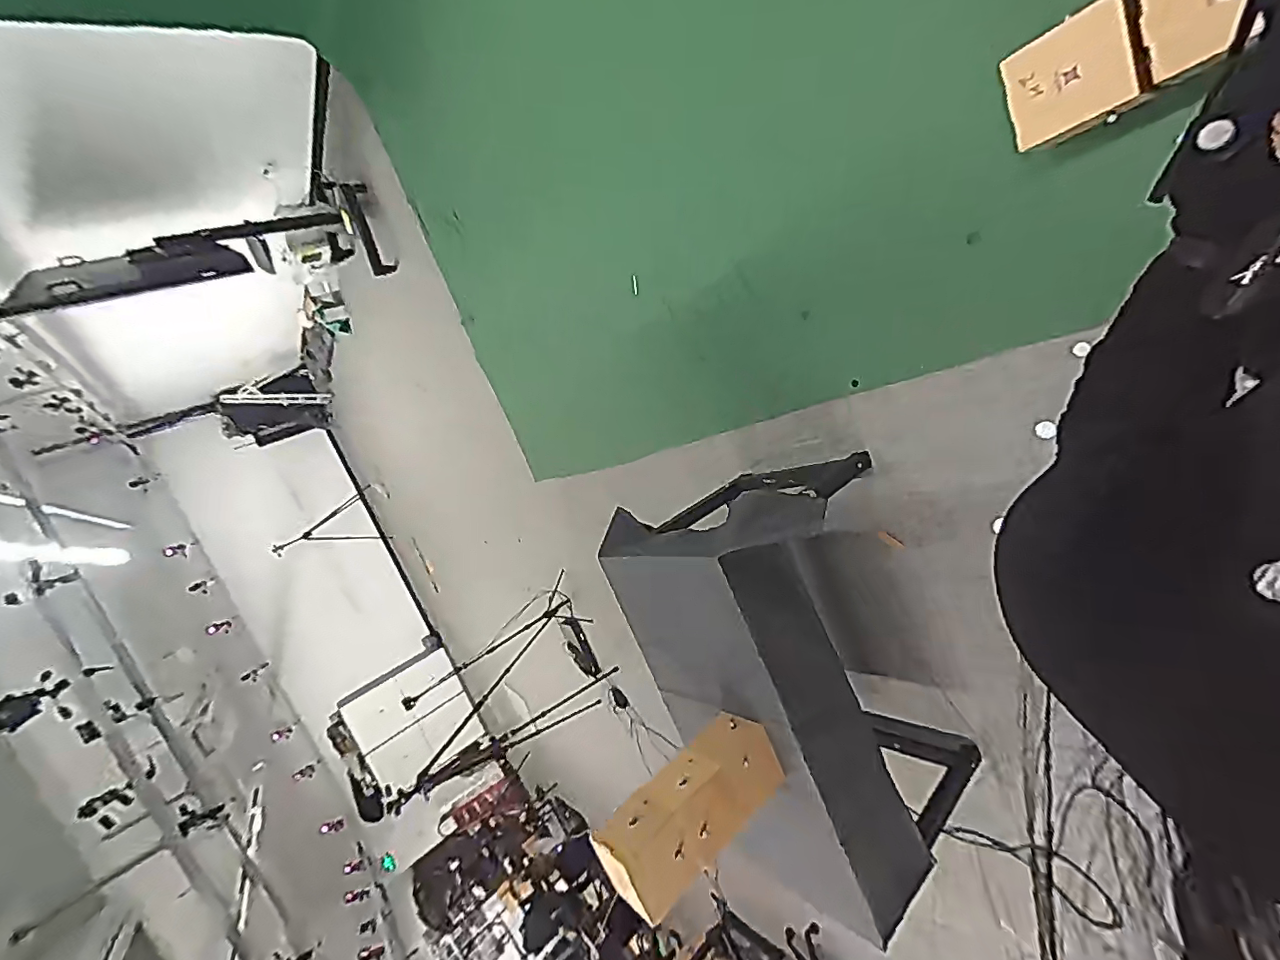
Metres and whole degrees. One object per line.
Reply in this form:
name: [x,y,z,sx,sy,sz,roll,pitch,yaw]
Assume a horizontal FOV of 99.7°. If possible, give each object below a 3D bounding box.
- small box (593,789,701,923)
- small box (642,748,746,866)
small box: [0.019,0.903,1.322,0.168,0.176,0.179,-11,104,56]
small box: [0.143,0.836,1.406,0.168,0.176,0.179,-15,101,57]
